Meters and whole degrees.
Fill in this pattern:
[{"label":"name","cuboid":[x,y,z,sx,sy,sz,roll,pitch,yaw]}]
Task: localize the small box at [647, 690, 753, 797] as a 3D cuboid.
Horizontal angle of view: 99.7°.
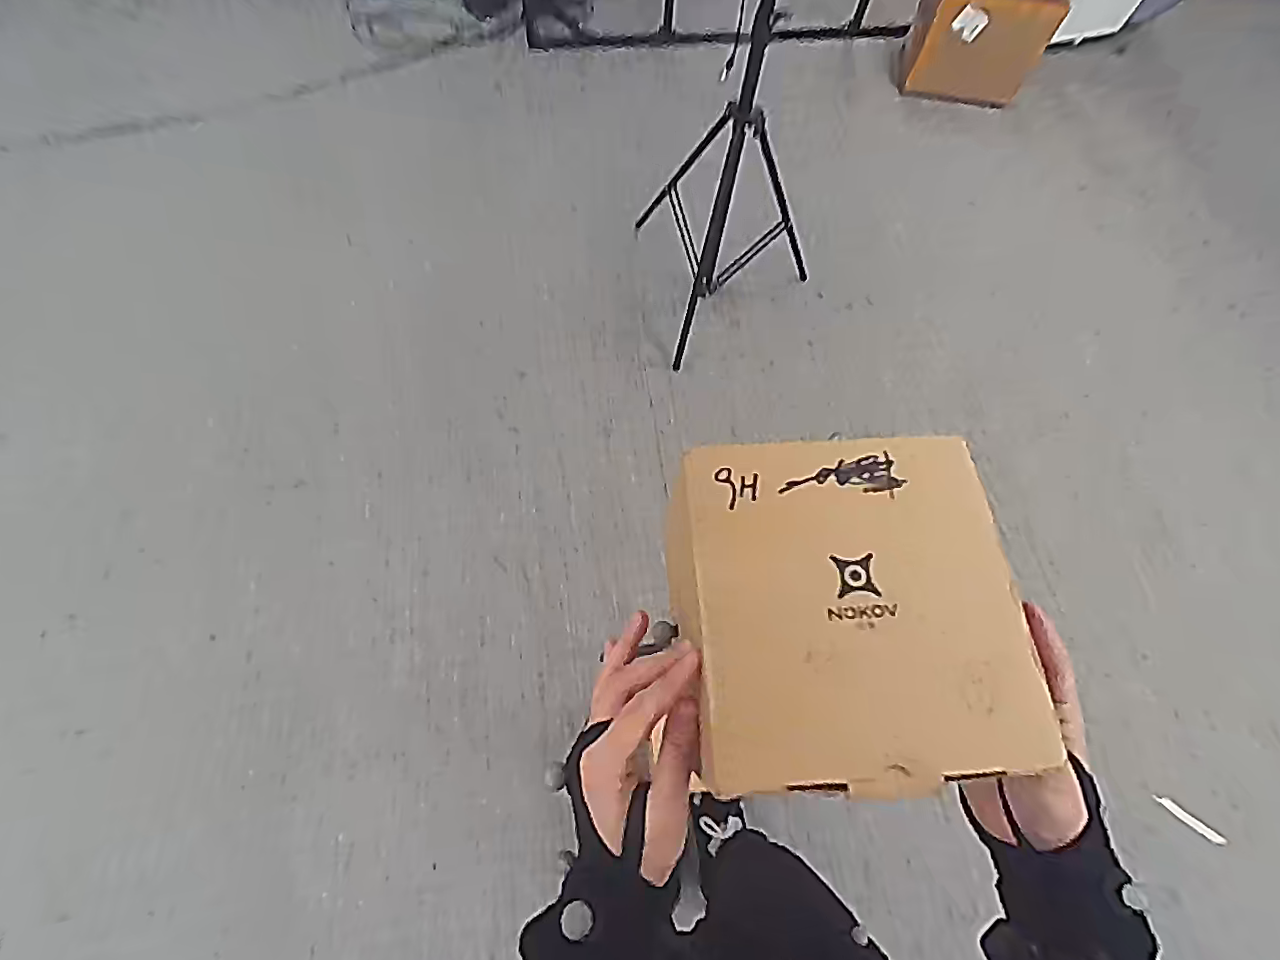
[{"label":"small box","cuboid":[0.105,0.504,1.049,0.179,0.176,0.168,-4,69,-4]}]
